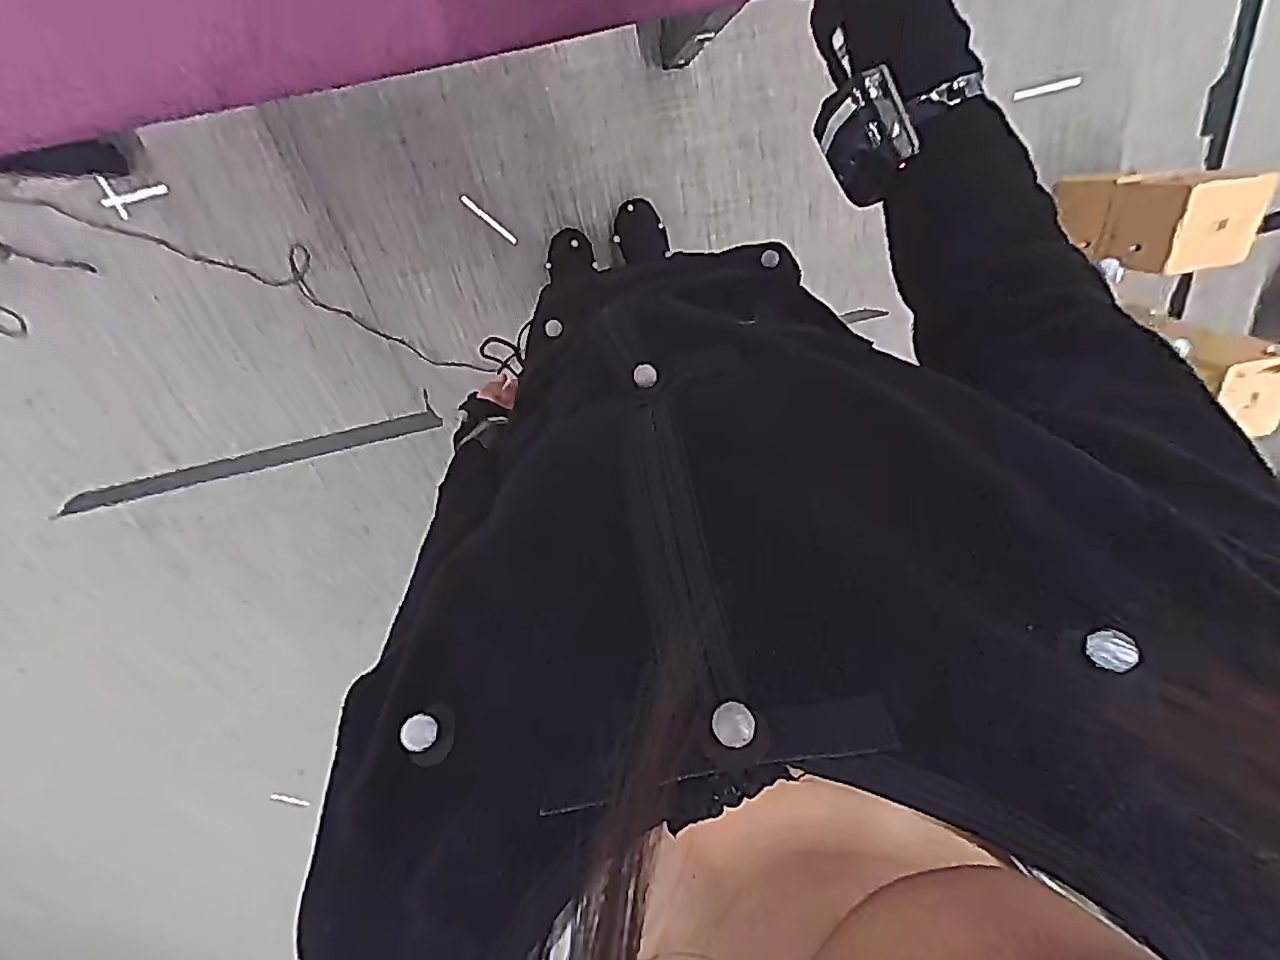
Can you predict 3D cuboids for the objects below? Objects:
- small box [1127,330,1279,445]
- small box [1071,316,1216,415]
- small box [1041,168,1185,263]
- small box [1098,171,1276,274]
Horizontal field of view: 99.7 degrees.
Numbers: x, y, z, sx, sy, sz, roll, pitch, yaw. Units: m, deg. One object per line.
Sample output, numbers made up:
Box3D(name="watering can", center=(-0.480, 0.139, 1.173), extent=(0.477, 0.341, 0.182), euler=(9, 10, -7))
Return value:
Box3D(name="small box", center=(1.185, -0.197, 1.132), extent=(0.168, 0.176, 0.179), euler=(-9, 121, -2))
Box3D(name="small box", center=(1.169, -0.277, 1.274), extent=(0.168, 0.176, 0.179), euler=(-12, 121, 0))
Box3D(name="small box", center=(1.089, -0.618, 1.264), extent=(0.168, 0.176, 0.179), euler=(-9, 120, -3))
Box3D(name="small box", center=(1.117, -0.538, 1.126), extent=(0.179, 0.176, 0.168), euler=(-11, 121, -3))
